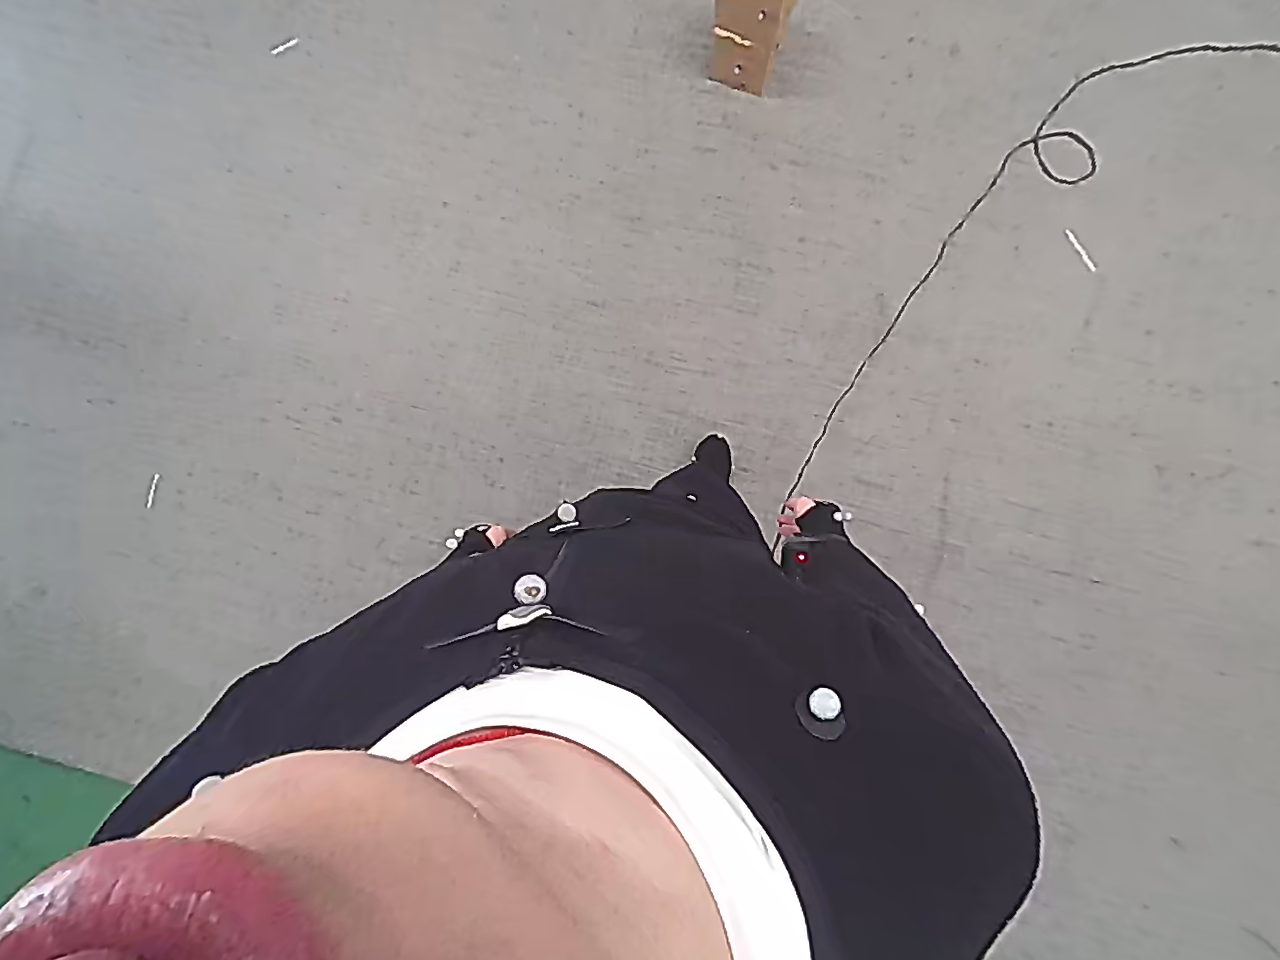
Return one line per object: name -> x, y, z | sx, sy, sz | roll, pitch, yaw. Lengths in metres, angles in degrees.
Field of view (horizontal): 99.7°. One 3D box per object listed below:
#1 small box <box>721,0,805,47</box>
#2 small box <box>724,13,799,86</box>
small box -> 0.315, -1.222, 1.326 | 0.179, 0.176, 0.168 | 28, 89, 5
small box -> 0.326, -1.225, 1.481 | 0.179, 0.176, 0.168 | -8, 87, 6
